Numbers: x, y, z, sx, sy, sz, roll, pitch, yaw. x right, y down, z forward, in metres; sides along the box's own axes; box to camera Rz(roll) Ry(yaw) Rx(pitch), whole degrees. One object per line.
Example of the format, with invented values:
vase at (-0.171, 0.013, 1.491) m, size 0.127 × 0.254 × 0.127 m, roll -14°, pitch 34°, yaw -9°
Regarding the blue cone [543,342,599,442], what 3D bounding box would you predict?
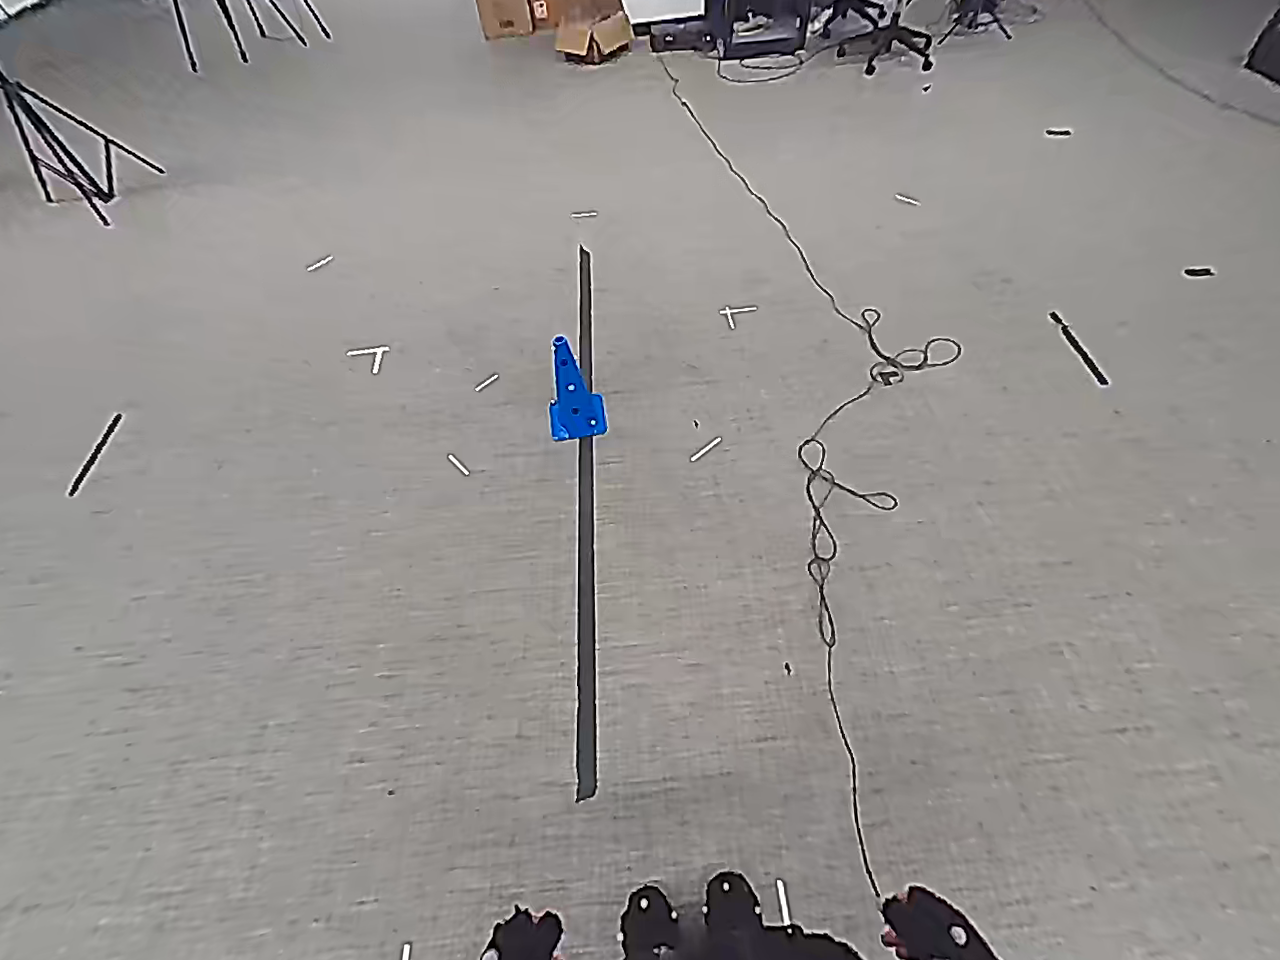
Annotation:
blue cone at (-0.261, -0.316, 1.840) m, size 0.192 × 0.380 × 0.193 m, roll -9°, pitch 54°, yaw -1°
